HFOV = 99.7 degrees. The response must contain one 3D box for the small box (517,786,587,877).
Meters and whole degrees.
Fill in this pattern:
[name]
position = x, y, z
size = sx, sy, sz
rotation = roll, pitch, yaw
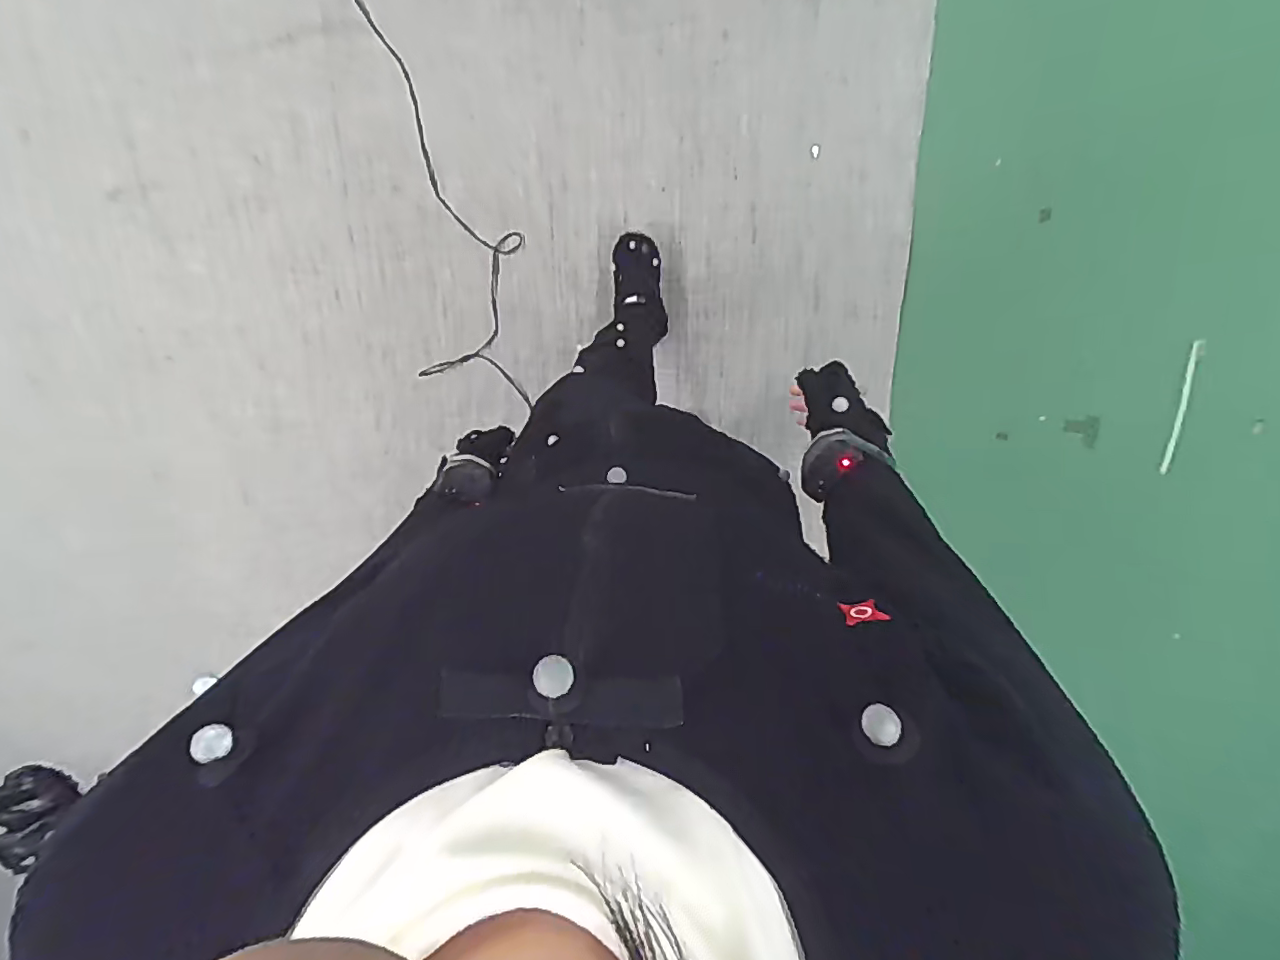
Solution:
[small box]
position = -0.264, 1.073, 1.662
size = 0.179, 0.176, 0.168
rotation = -1, 105, 4
